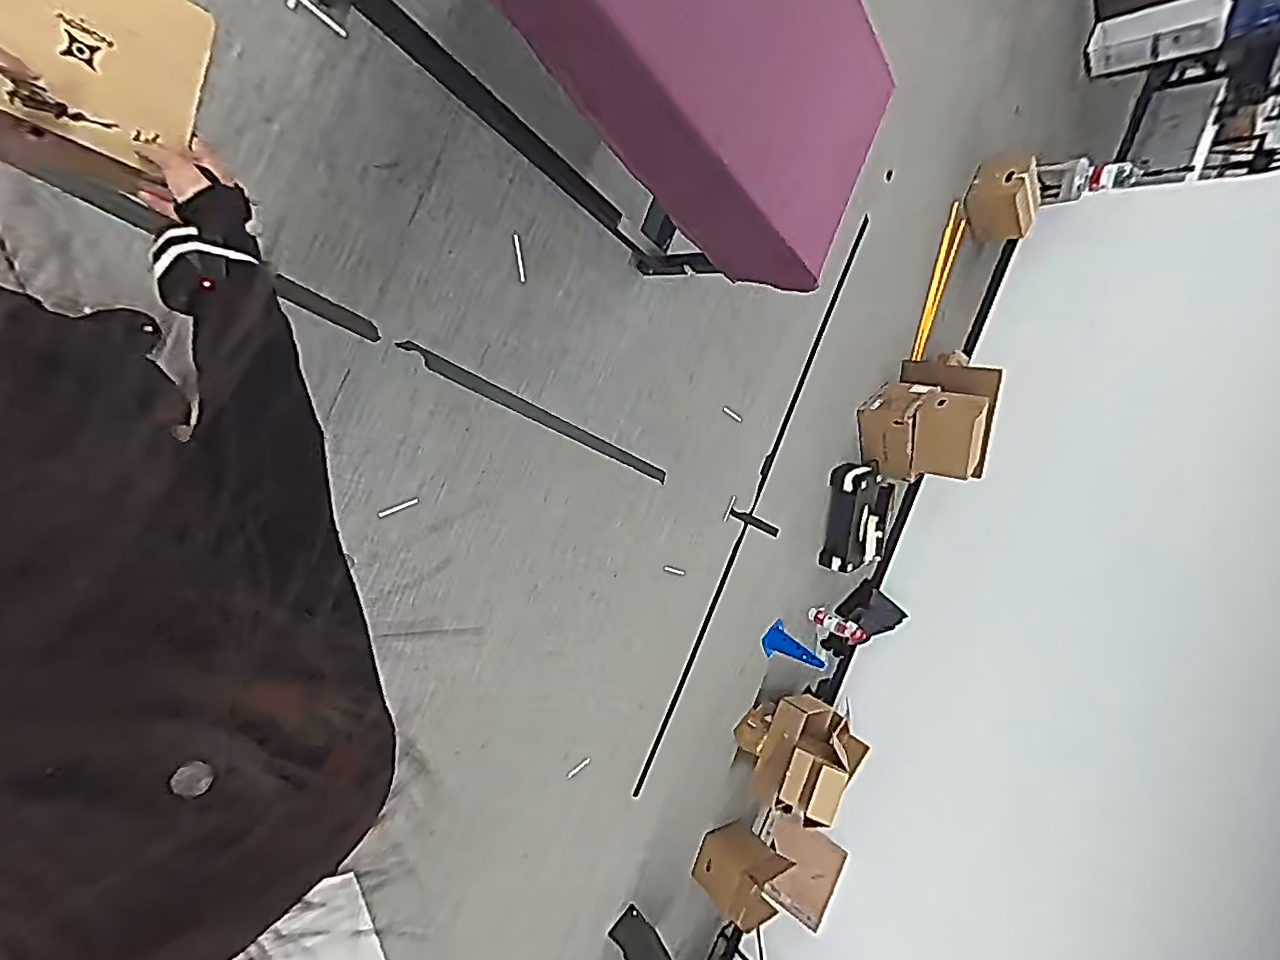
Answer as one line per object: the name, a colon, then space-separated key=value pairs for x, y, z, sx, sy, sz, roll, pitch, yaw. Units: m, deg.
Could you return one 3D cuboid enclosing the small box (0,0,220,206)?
small box: x=-0.557 y=-0.403 z=0.538 sx=0.168 sy=0.176 sz=0.179 roll=14 pitch=93 yaw=-50
